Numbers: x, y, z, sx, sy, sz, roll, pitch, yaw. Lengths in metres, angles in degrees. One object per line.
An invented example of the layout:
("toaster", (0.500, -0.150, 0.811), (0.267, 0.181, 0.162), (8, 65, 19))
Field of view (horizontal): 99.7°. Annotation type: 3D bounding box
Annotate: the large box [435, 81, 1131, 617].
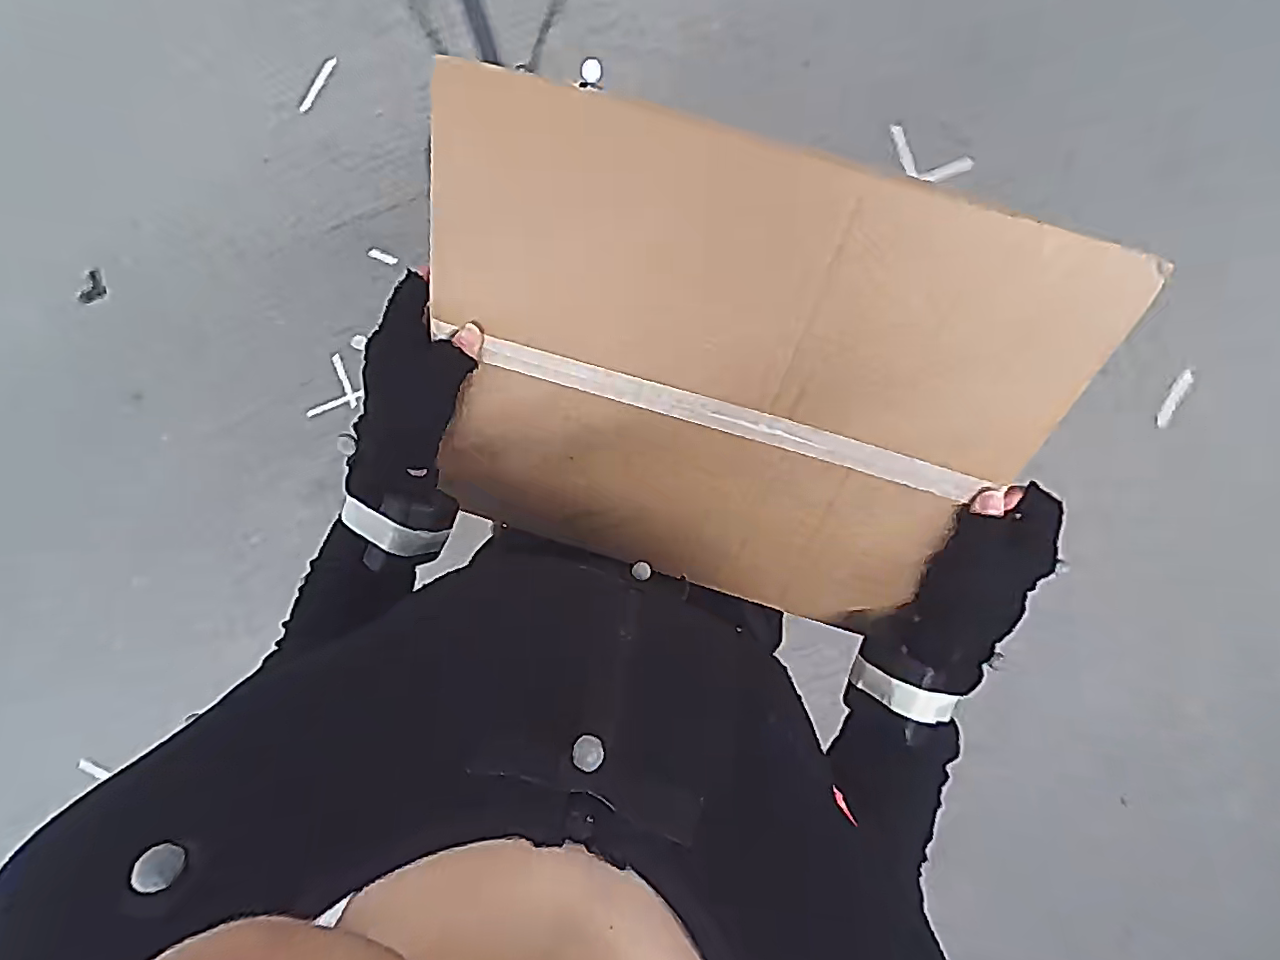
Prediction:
("large box", (0.071, -0.135, 0.505), (0.408, 0.320, 0.320), (16, 126, 2))
